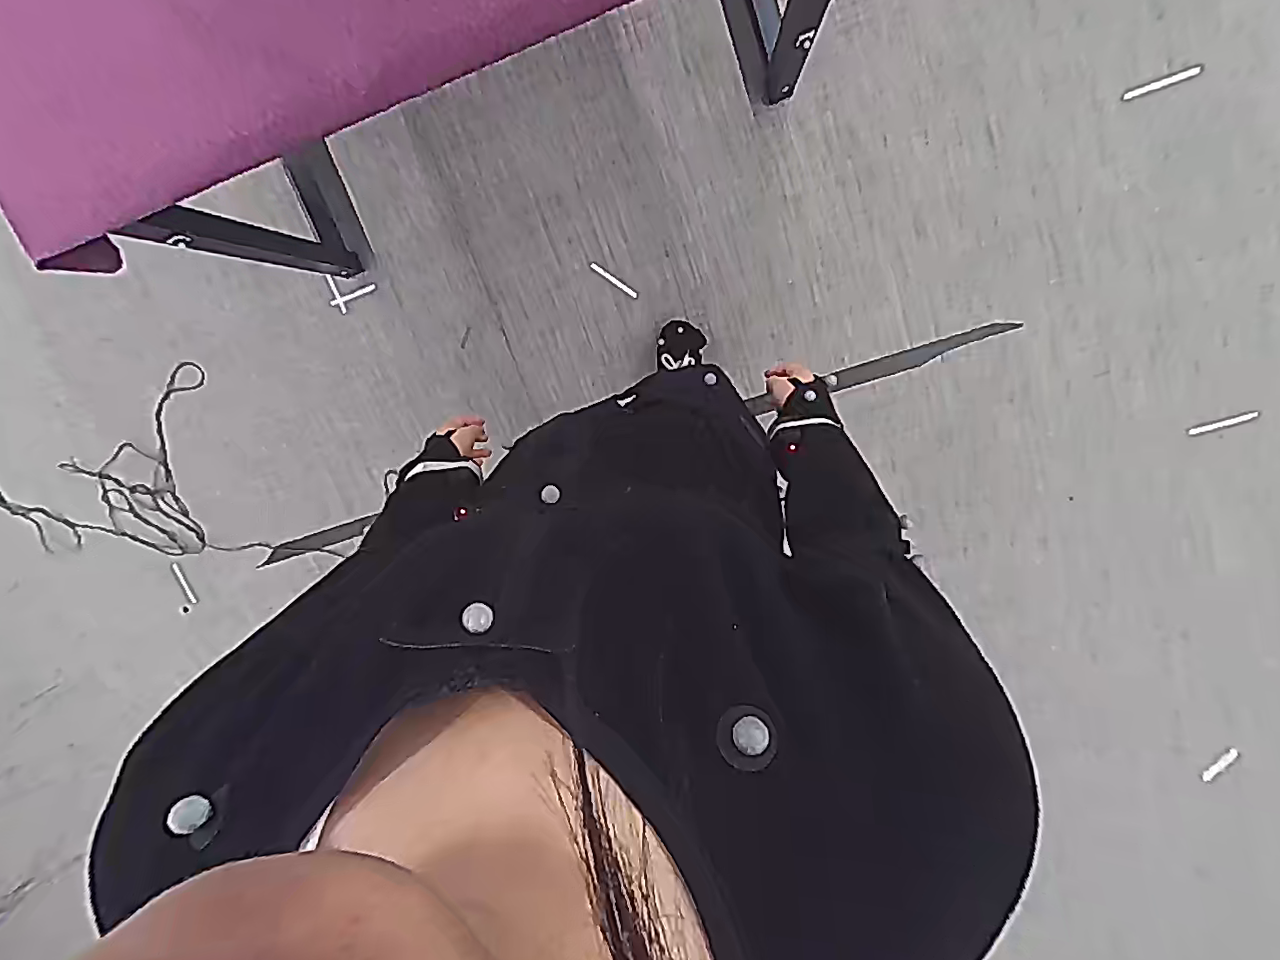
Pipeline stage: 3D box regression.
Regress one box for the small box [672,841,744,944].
[{"bbox_3d":[0.211,1.290,1.699,0.168,0.176,0.179,-27,99,8],"label":"small box"}]
